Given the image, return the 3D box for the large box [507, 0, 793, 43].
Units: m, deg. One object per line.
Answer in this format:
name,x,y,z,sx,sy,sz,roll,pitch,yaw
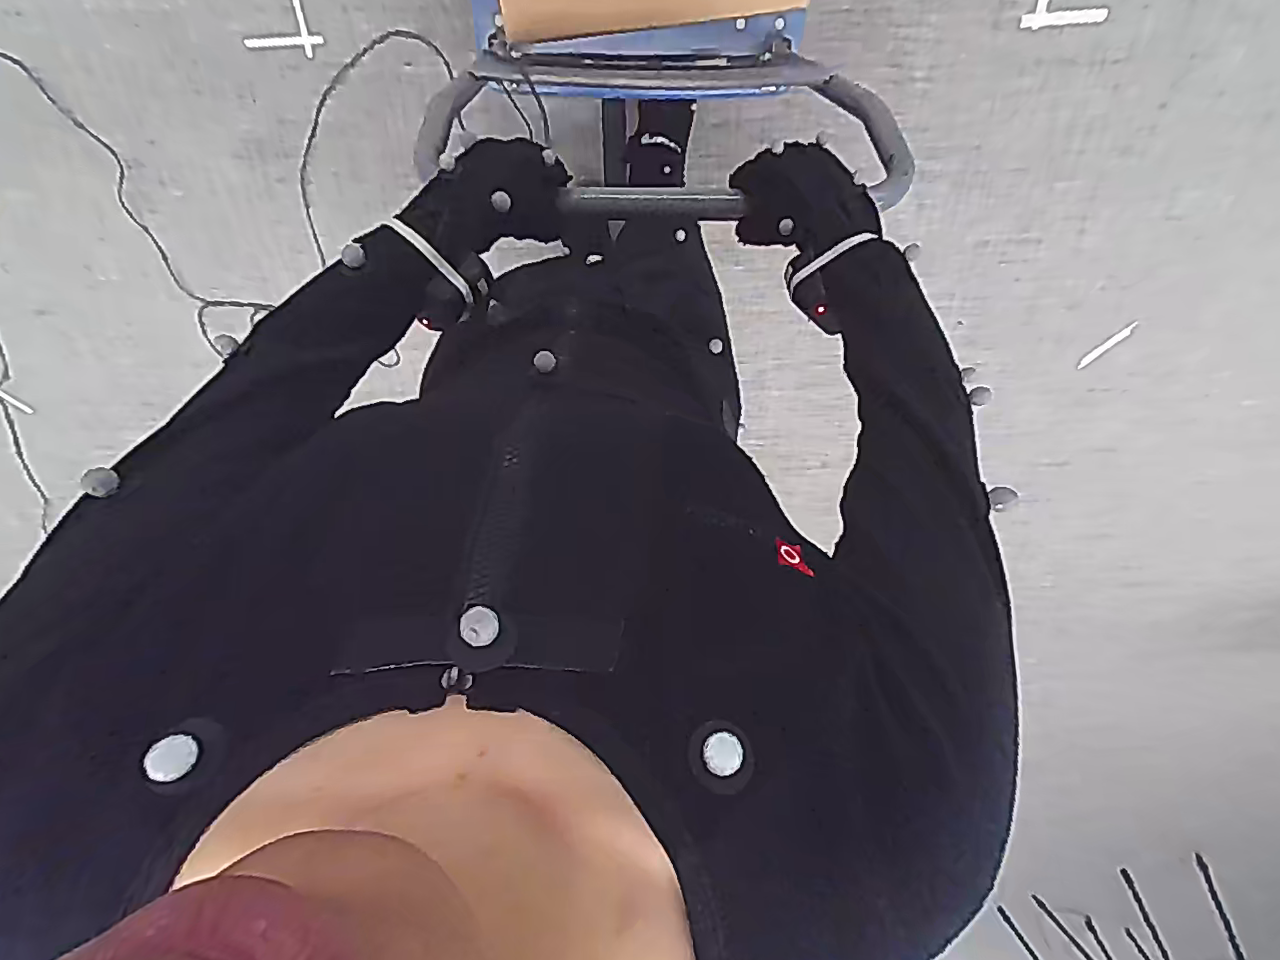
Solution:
large box,-0.002,-0.833,0.743,0.408,0.320,0.320,-7,132,1
